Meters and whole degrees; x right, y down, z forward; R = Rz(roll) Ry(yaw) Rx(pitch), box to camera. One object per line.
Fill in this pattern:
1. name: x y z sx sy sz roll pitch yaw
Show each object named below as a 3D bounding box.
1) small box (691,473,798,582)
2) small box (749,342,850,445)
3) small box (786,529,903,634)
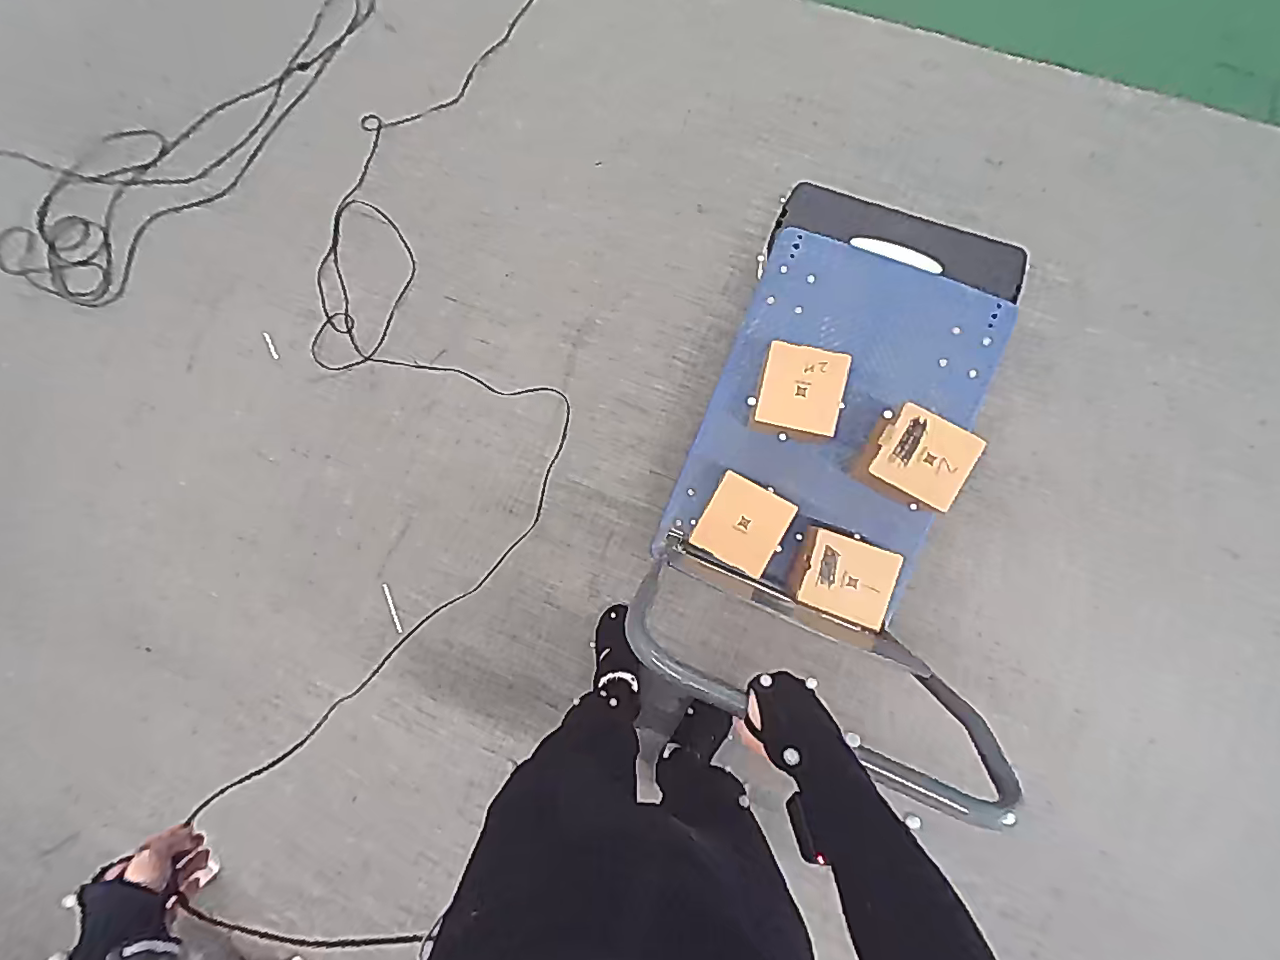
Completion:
1. small box: 0.221 0.098 1.197 0.168 0.176 0.179 29 92 5
2. small box: 0.342 -0.181 1.193 0.168 0.176 0.179 14 89 6
3. small box: 0.429 0.209 1.168 0.179 0.176 0.168 19 91 7
